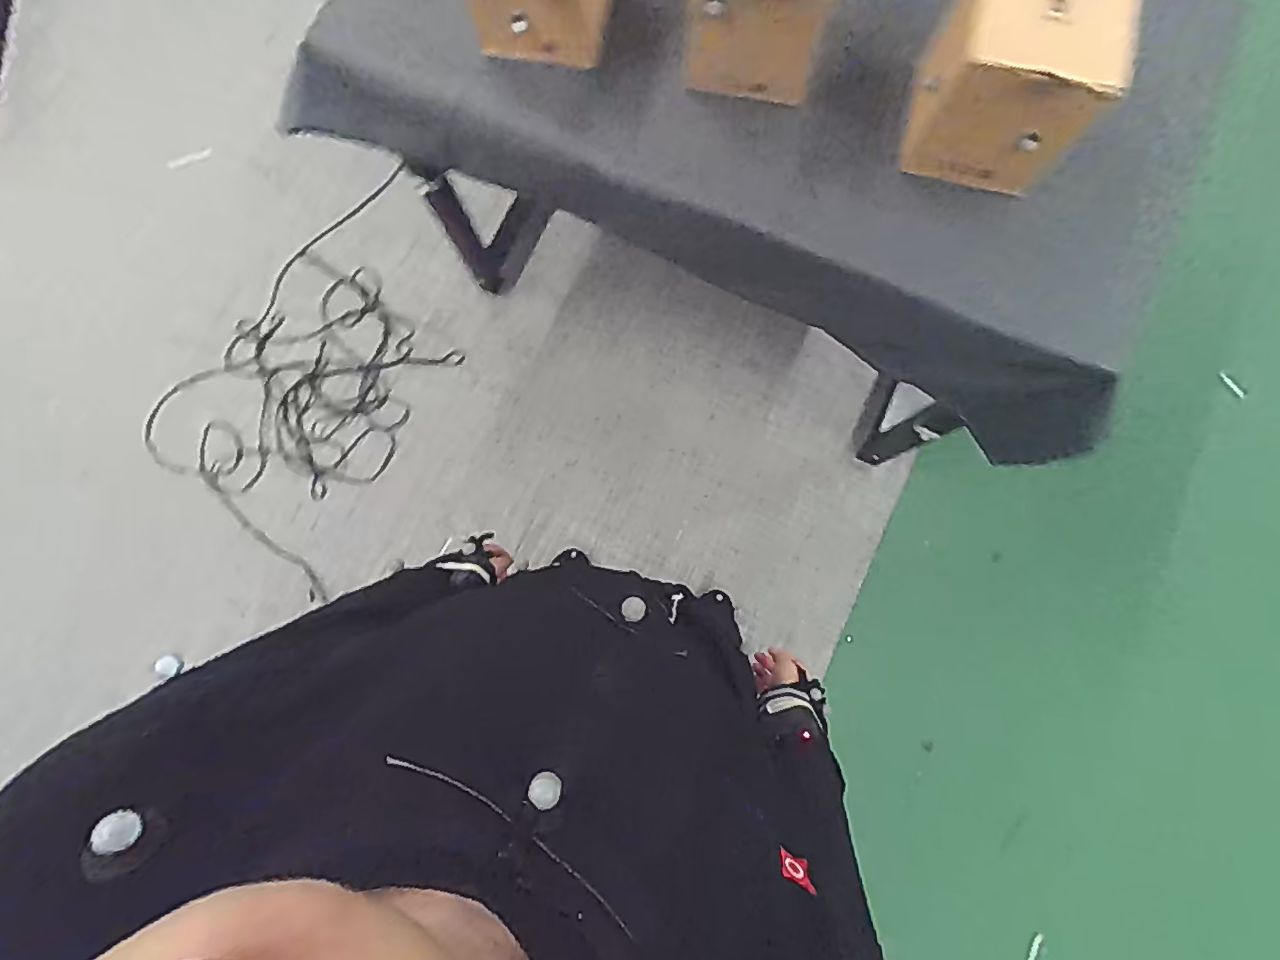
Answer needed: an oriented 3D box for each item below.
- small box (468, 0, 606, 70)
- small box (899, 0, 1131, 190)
[{"bbox_3d":[-0.134,-0.688,0.699,0.168,0.176,0.179,9,82,2],"label":"small box"},{"bbox_3d":[0.442,-0.495,0.661,0.168,0.176,0.179,14,80,2],"label":"small box"}]
